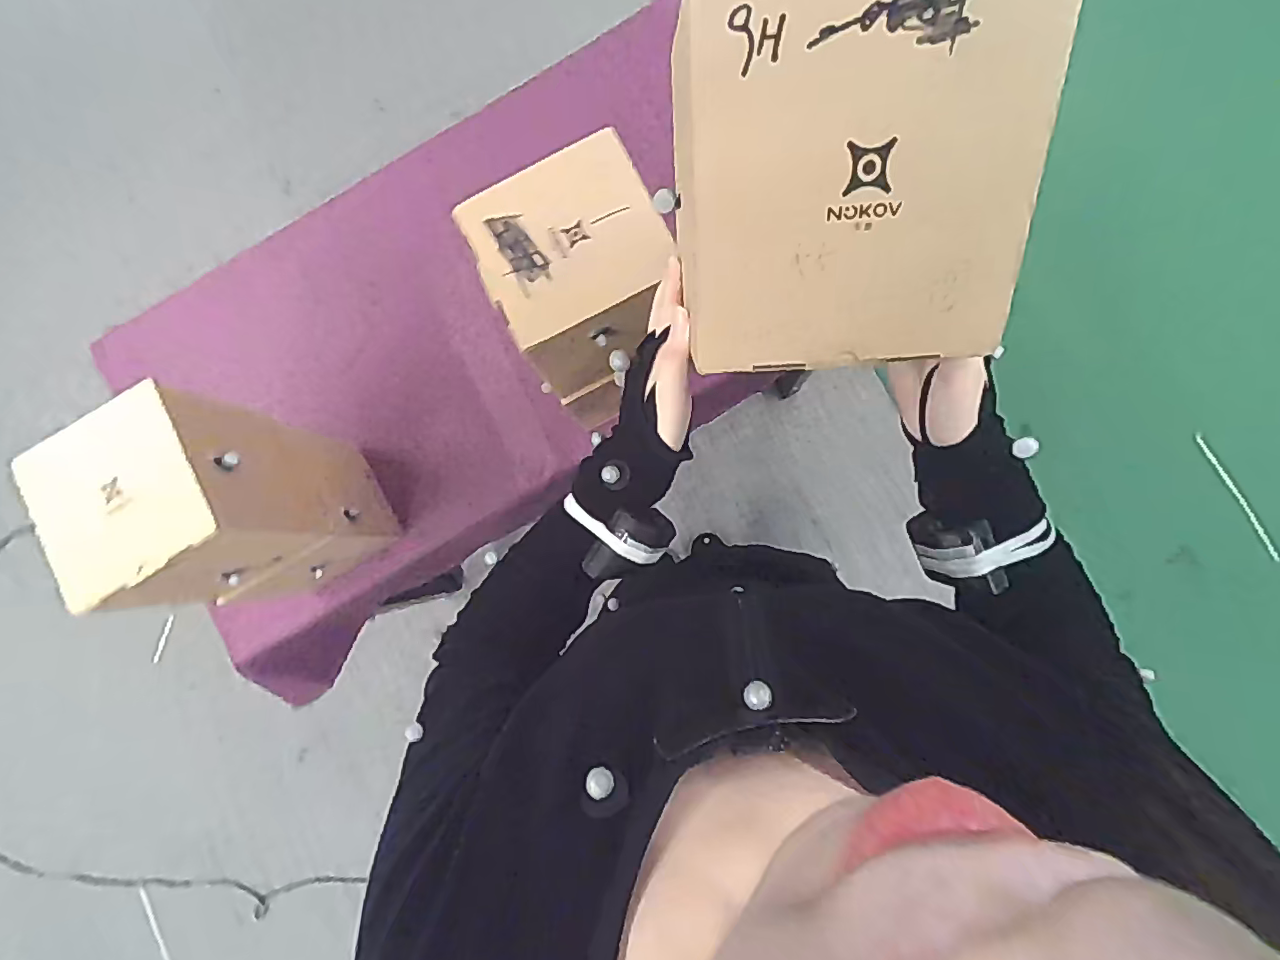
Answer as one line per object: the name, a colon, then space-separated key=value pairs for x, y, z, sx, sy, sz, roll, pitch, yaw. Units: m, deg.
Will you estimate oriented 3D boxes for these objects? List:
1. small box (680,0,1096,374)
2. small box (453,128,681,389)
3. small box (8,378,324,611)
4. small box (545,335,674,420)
small box: x=0.113 y=-0.178 z=0.335 sx=0.168 sy=0.176 sz=0.179 roll=-3 pitch=119 yaw=1
small box: x=-0.065 y=-0.221 z=0.591 sx=0.179 sy=0.176 sz=0.168 roll=-27 pitch=83 yaw=0
small box: x=-0.500 y=0.021 z=0.597 sx=0.168 sy=0.176 sz=0.179 roll=-31 pitch=83 yaw=1
small box: x=-0.059 y=-0.197 z=0.754 sx=0.168 sy=0.176 sz=0.179 roll=-27 pitch=83 yaw=0
